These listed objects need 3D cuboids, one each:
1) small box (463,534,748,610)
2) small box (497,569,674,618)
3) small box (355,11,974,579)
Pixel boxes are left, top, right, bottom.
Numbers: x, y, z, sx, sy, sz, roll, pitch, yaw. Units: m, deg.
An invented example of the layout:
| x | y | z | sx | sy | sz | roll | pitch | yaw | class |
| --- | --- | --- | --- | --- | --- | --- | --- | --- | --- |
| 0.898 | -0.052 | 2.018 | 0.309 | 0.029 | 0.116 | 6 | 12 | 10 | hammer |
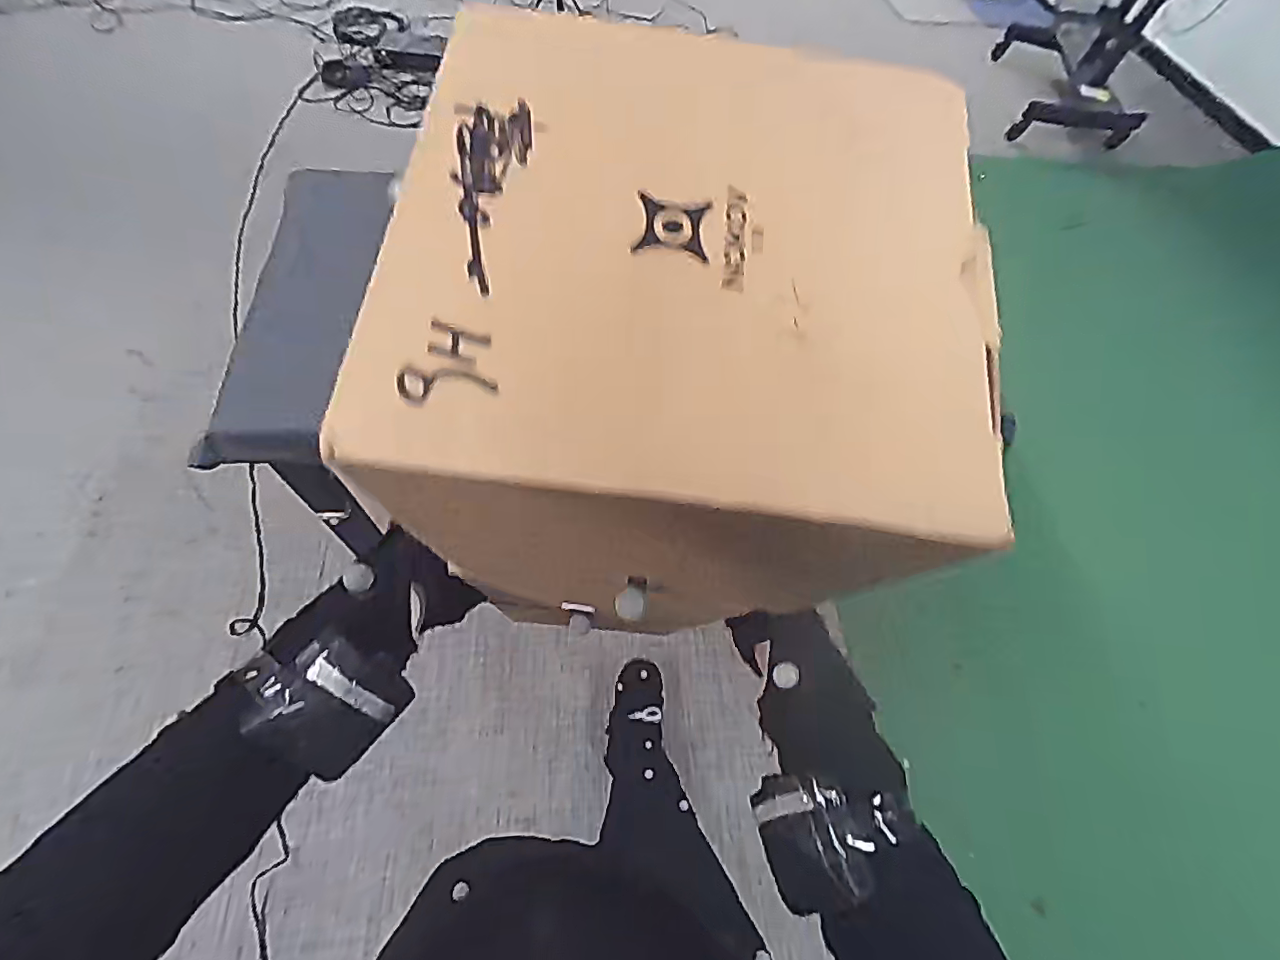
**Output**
| x | y | z | sx | sy | sz | roll | pitch | yaw | class |
| --- | --- | --- | --- | --- | --- | --- | --- | --- | --- |
| -0.018 | -0.008 | 0.403 | 0.168 | 0.176 | 0.179 | 8 | 71 | -3 | small box |
| -0.037 | 0.047 | 0.555 | 0.179 | 0.176 | 0.168 | 6 | 71 | -6 | small box |
| 0.009 | -0.053 | 0.248 | 0.179 | 0.176 | 0.168 | 7 | 70 | -4 | small box |
